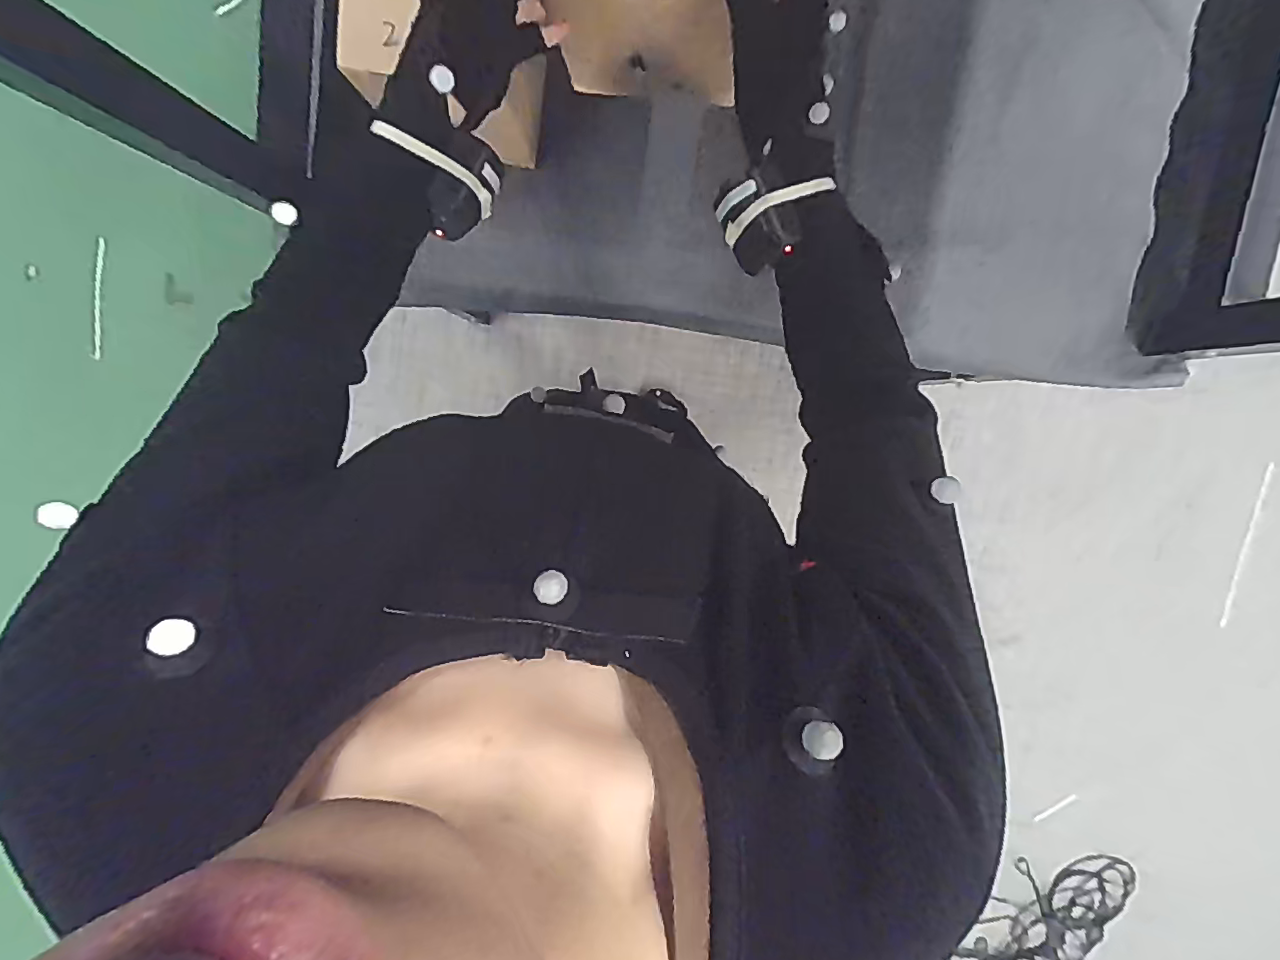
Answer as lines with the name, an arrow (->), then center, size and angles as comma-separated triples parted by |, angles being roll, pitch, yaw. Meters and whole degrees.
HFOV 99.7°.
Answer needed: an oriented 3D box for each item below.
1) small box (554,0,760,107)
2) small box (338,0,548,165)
small box -> 0.019, -0.451, 0.446 | 0.168, 0.176, 0.179 | 7, 102, 2
small box -> -0.201, -0.487, 0.597 | 0.168, 0.176, 0.179 | 8, 98, -1
